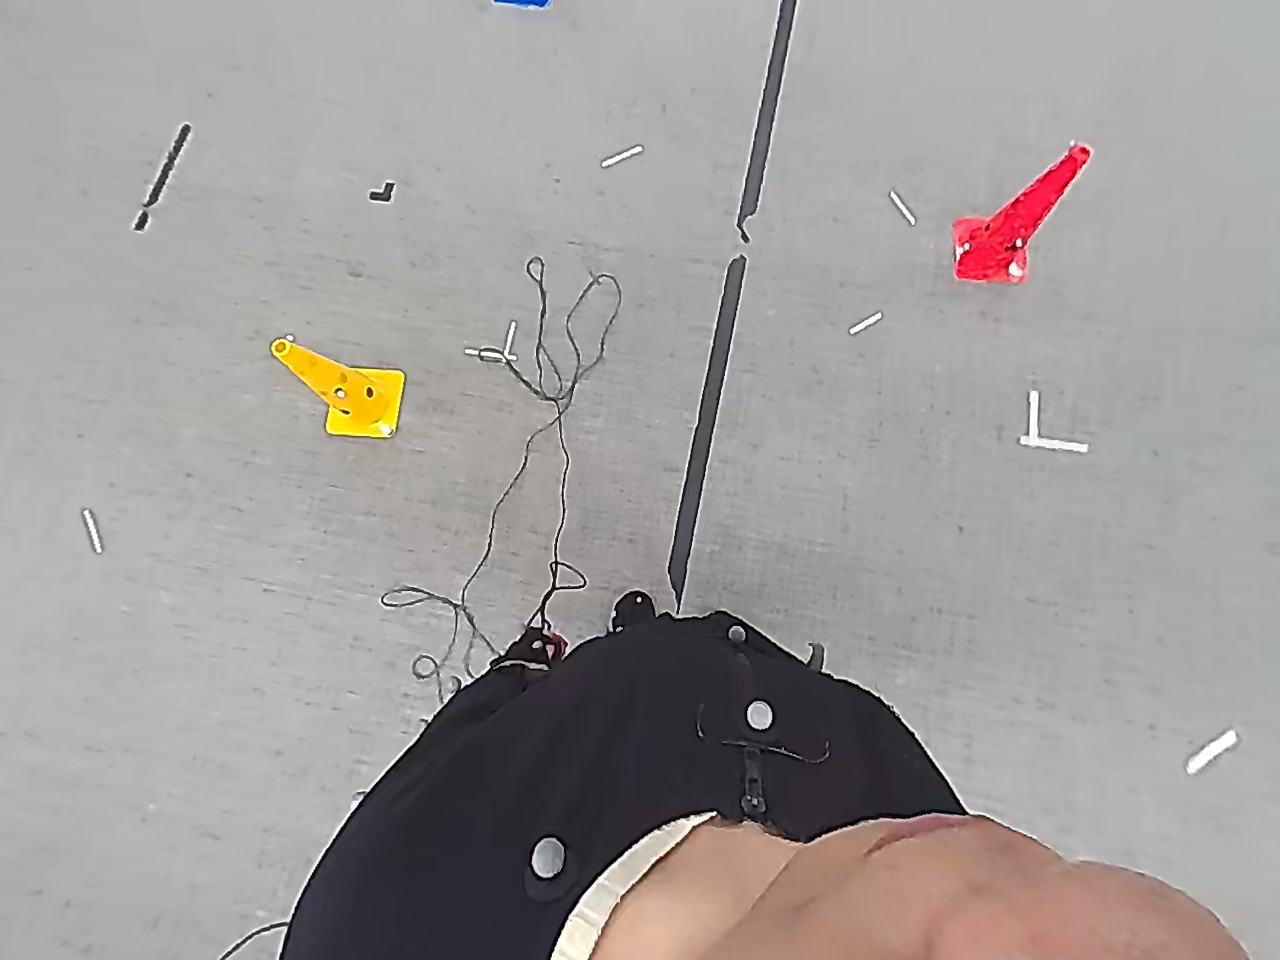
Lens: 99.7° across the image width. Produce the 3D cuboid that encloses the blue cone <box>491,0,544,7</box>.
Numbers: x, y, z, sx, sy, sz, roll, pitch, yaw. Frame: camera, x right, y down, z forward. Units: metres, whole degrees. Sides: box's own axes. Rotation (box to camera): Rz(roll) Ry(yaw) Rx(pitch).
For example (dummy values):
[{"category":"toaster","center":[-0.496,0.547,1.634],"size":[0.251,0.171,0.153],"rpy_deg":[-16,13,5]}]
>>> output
[{"category":"blue cone","center":[-0.412,-1.712,1.670],"size":[0.192,0.380,0.193],"rpy_deg":[11,78,6]}]

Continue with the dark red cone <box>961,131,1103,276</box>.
[{"category":"dark red cone","center":[0.994,-0.700,1.355],"size":[0.201,0.394,0.202],"rpy_deg":[3,78,4]}]
